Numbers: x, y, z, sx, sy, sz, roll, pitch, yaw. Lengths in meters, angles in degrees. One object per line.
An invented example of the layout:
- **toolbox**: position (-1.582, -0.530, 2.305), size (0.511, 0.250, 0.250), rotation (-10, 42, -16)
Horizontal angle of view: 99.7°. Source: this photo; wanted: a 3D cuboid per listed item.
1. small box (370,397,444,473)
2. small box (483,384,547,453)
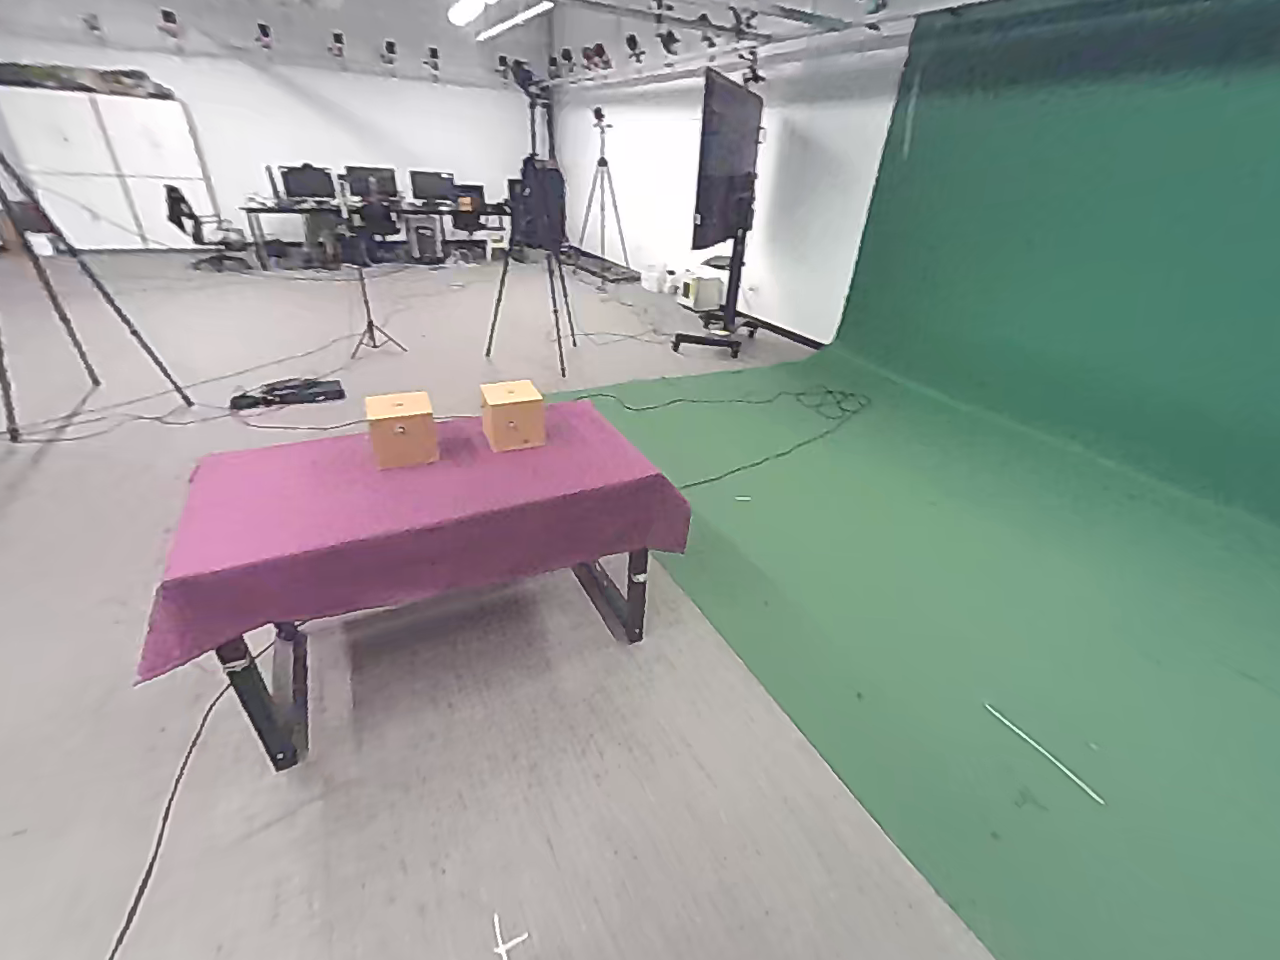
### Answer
- **small box**: position (-0.699, -0.135, 1.624), size (0.179, 0.176, 0.168), rotation (-10, 34, -22)
- **small box**: position (-0.403, -0.196, 1.754), size (0.168, 0.176, 0.179), rotation (-11, 33, -22)
